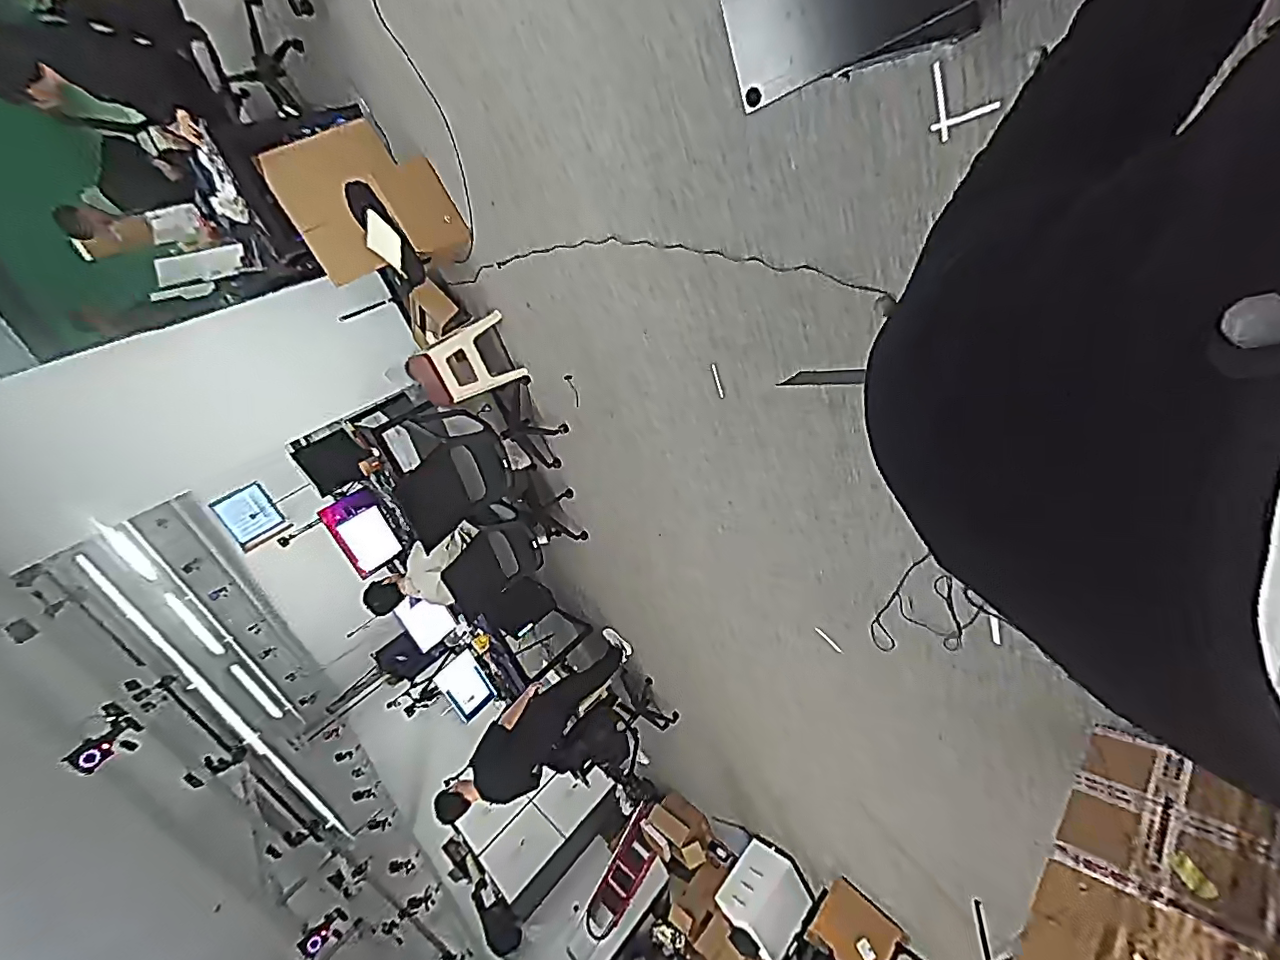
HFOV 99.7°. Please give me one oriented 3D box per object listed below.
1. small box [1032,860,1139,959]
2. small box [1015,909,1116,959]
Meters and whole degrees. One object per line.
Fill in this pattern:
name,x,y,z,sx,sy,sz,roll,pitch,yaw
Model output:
small box,1.186,1.164,1.438,0.179,0.176,0.168,0,118,54
small box,1.068,1.237,1.348,0.179,0.176,0.168,0,117,54
